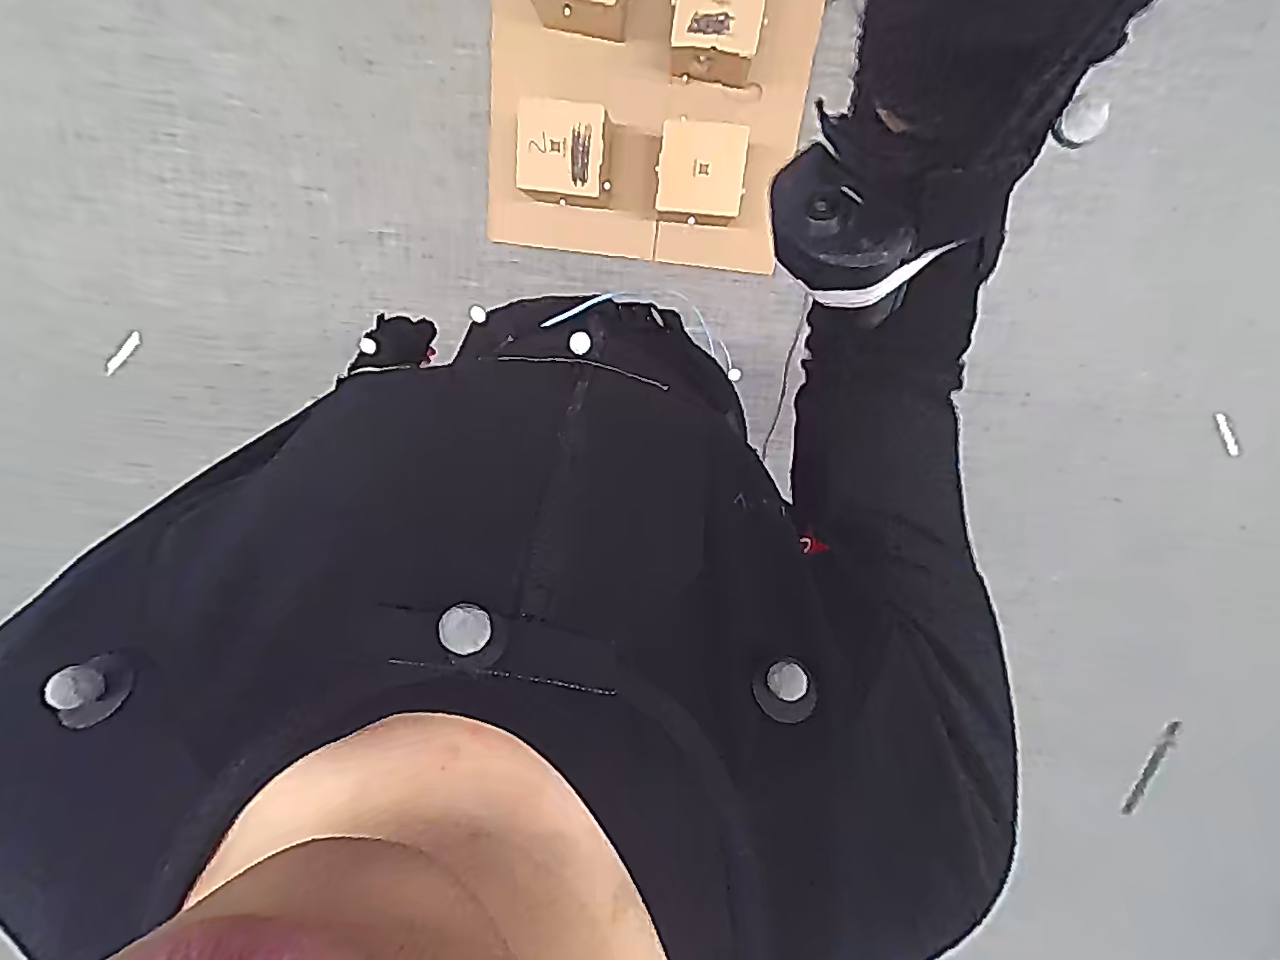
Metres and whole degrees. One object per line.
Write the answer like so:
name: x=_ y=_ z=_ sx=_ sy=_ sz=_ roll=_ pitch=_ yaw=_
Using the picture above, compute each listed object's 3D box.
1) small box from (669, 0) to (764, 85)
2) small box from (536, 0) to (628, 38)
small box: x=0.155 y=-0.924 z=1.076 sx=0.168 sy=0.176 sz=0.179 roll=10 pitch=109 yaw=1
small box: x=-0.112 y=-1.006 z=1.056 sx=0.179 sy=0.176 sz=0.168 roll=11 pitch=110 yaw=-1
